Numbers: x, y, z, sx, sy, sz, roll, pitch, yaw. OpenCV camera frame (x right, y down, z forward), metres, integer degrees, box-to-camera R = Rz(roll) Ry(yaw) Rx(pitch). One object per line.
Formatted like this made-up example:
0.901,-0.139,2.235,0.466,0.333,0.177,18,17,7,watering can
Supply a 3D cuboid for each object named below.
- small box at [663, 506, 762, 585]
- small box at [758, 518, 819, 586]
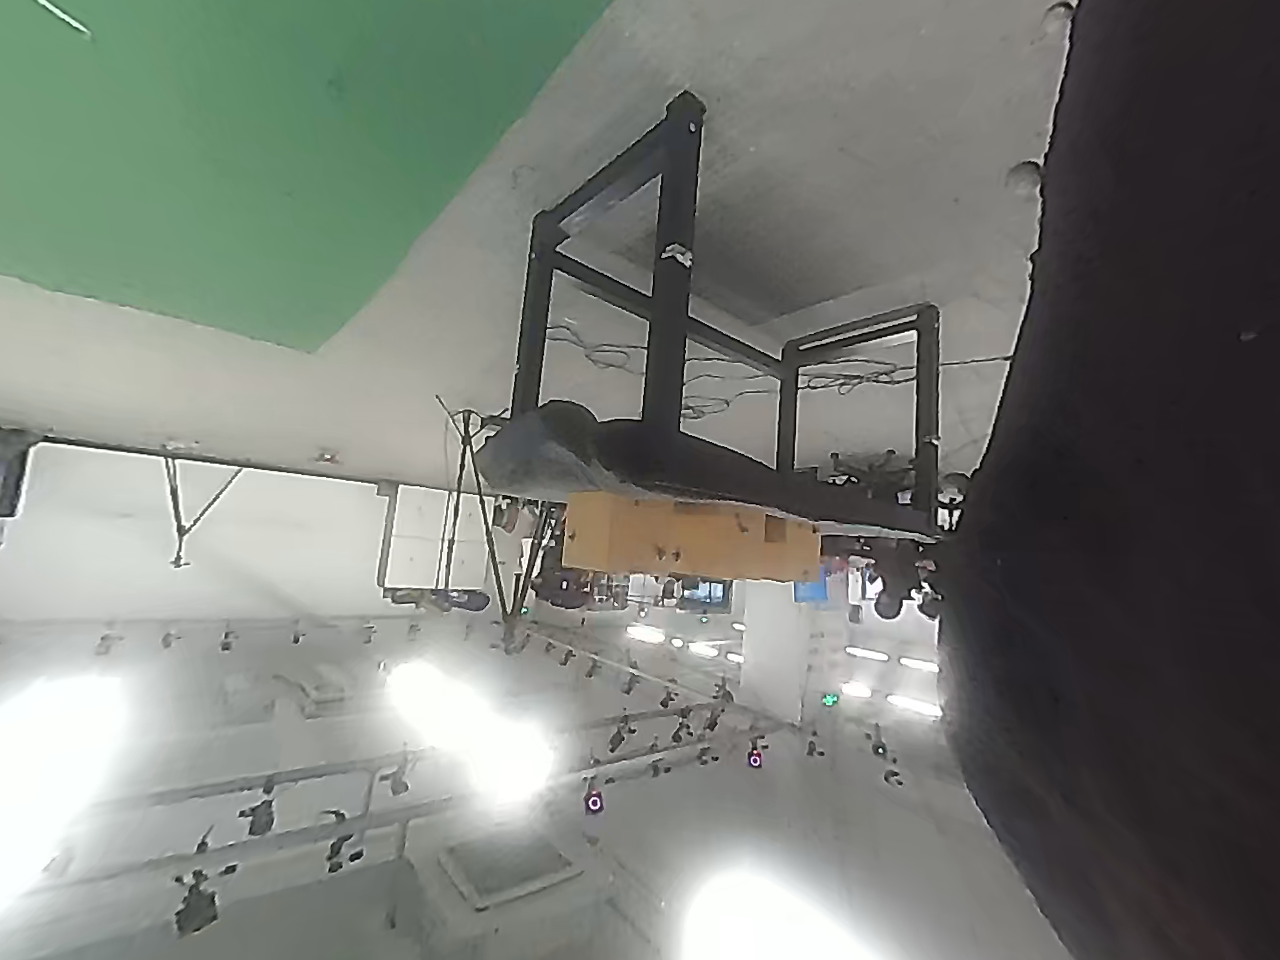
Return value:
0.179,0.157,1.310,0.168,0.176,0.179,10,171,-39,small box
0.365,0.191,1.462,0.168,0.176,0.179,11,171,-40,small box
